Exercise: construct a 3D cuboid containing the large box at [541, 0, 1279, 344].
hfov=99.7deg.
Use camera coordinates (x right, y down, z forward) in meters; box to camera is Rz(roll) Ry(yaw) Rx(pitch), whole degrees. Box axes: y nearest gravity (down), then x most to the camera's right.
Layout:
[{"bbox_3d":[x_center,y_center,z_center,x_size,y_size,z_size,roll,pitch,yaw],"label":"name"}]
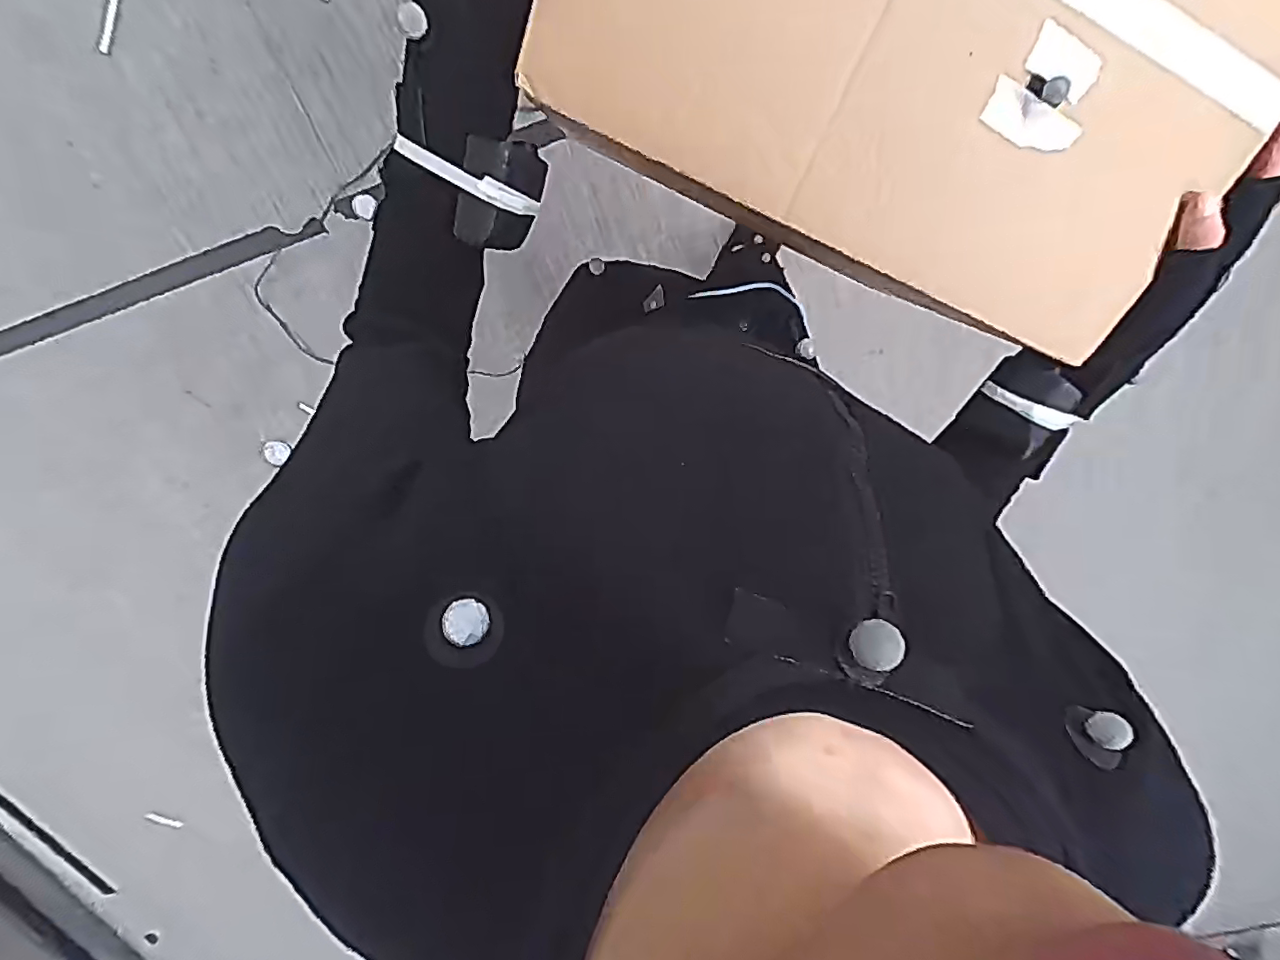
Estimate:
[{"bbox_3d":[0.174,-0.353,0.414,0.408,0.320,0.320,20,116,-13],"label":"large box"}]
